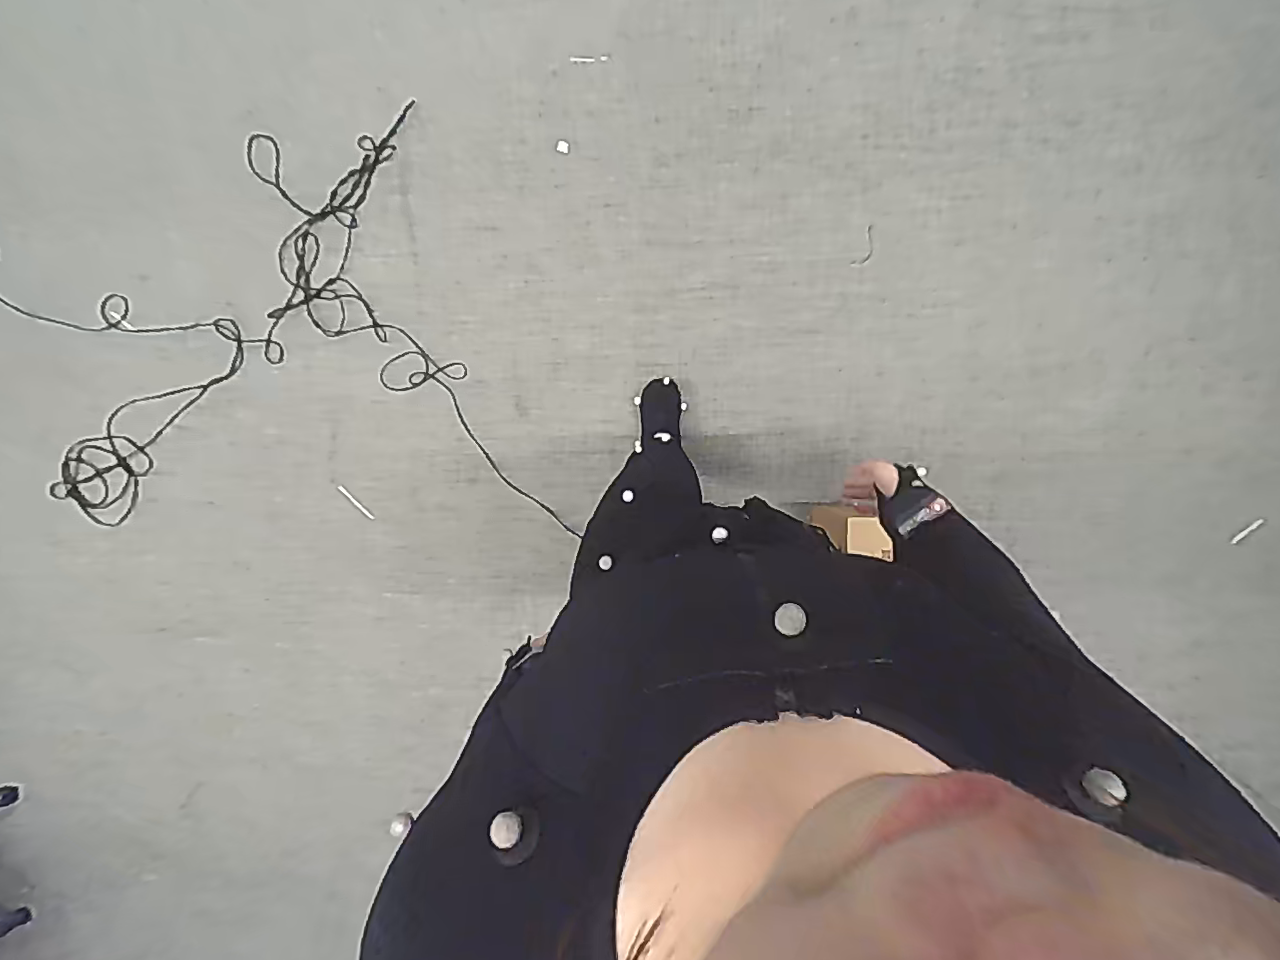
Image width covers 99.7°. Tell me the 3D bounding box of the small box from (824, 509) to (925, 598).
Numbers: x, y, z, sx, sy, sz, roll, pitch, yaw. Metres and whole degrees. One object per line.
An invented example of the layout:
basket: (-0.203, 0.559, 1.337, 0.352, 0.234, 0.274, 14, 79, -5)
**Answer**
small box: (0.524, 0.159, 1.228, 0.168, 0.176, 0.179, 1, 93, 4)

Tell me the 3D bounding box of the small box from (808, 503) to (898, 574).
small box: (0.540, 0.150, 1.392, 0.179, 0.176, 0.168, 1, 93, 3)
